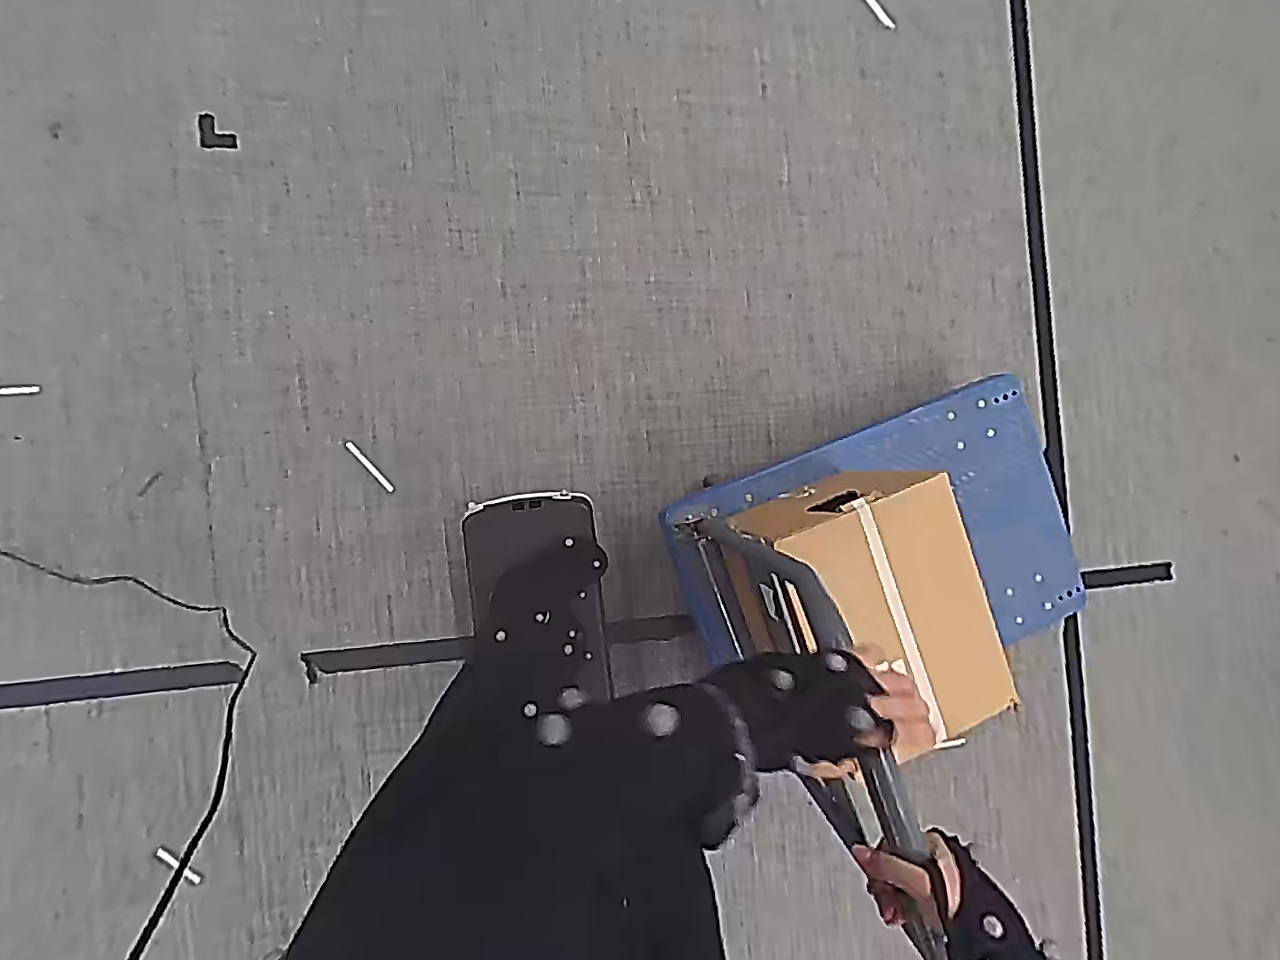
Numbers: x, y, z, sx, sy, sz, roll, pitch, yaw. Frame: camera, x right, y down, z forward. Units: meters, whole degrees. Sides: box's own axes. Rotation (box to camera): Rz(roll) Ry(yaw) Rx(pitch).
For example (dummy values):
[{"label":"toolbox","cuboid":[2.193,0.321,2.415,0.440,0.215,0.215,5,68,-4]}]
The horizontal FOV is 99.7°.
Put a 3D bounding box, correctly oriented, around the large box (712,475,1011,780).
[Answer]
[{"label":"large box","cuboid":[0.378,0.230,0.997,0.320,0.320,0.408,-21,94,-9]}]
